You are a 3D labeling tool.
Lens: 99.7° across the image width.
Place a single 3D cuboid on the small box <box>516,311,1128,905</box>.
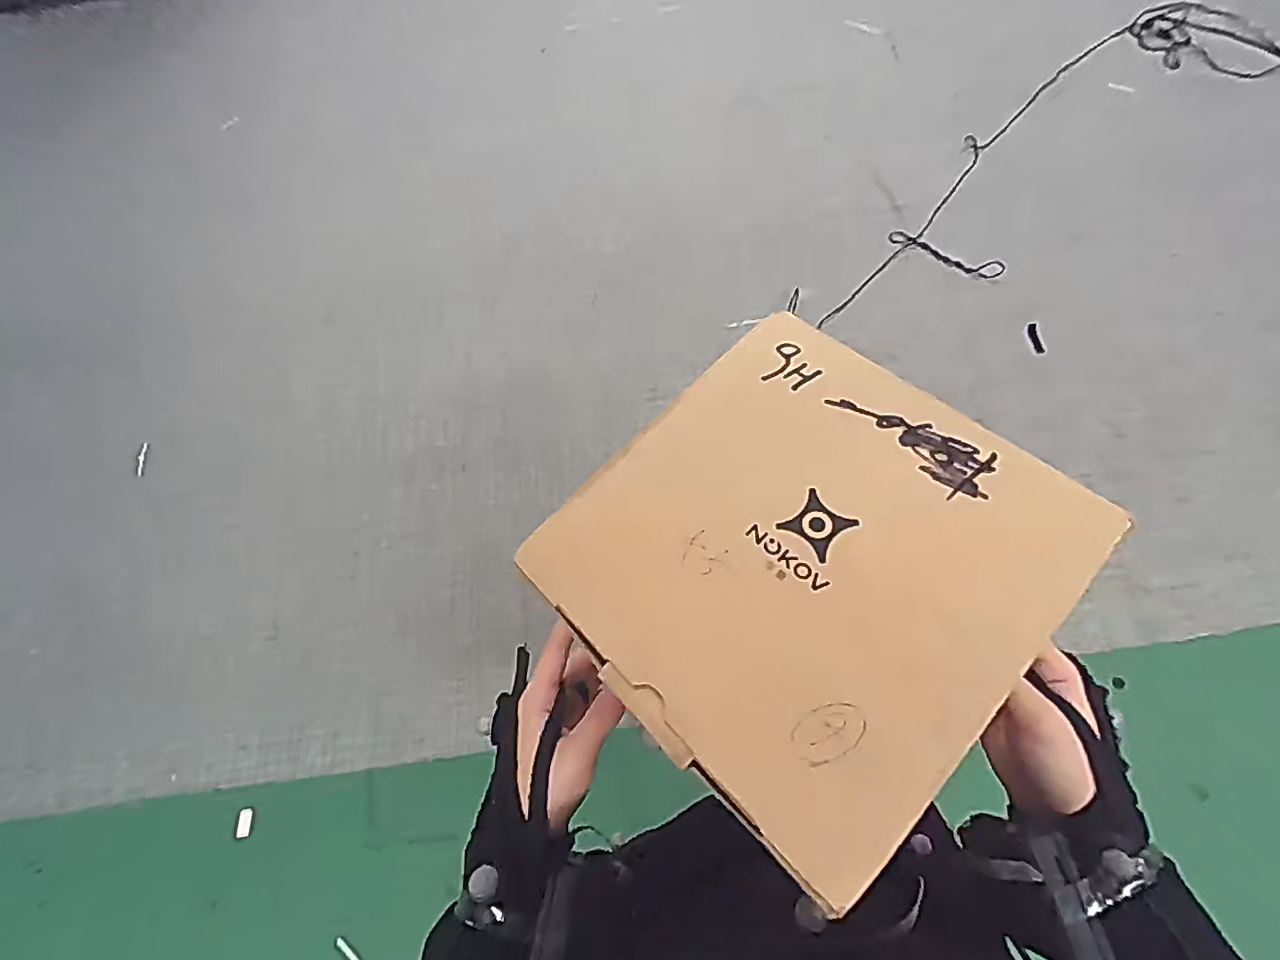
[{"bbox_3d":[0.075,0.058,0.281,0.179,0.176,0.168,-43,65,-12],"label":"small box"}]
